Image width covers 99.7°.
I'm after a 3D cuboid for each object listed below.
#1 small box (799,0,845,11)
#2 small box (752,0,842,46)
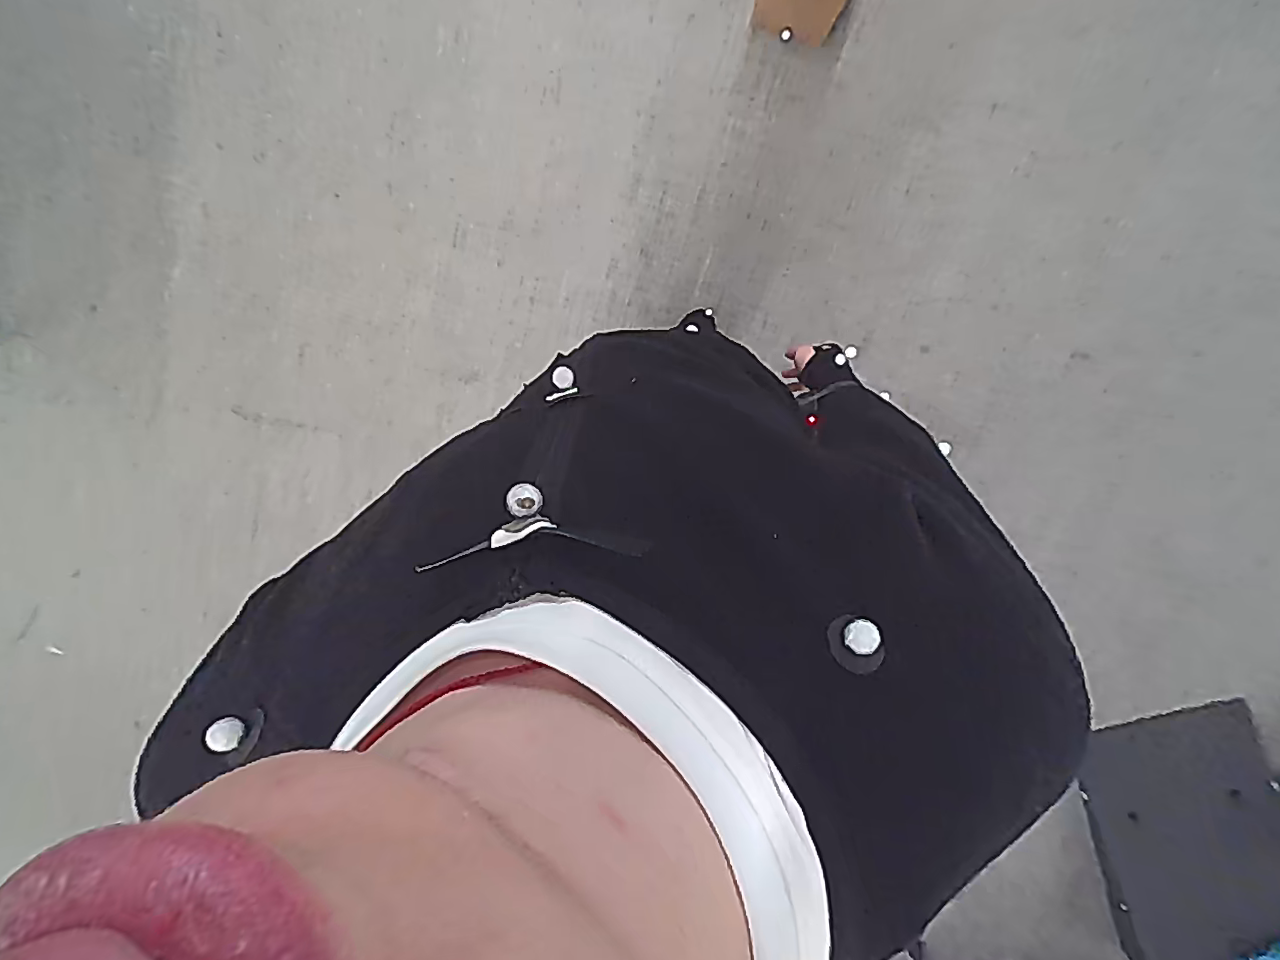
[{"bbox_3d":[0.337,-1.014,0.989,0.179,0.176,0.168,18,108,-1],"label":"small box"},{"bbox_3d":[0.352,-1.065,1.143,0.179,0.176,0.168,19,108,-1],"label":"small box"}]
